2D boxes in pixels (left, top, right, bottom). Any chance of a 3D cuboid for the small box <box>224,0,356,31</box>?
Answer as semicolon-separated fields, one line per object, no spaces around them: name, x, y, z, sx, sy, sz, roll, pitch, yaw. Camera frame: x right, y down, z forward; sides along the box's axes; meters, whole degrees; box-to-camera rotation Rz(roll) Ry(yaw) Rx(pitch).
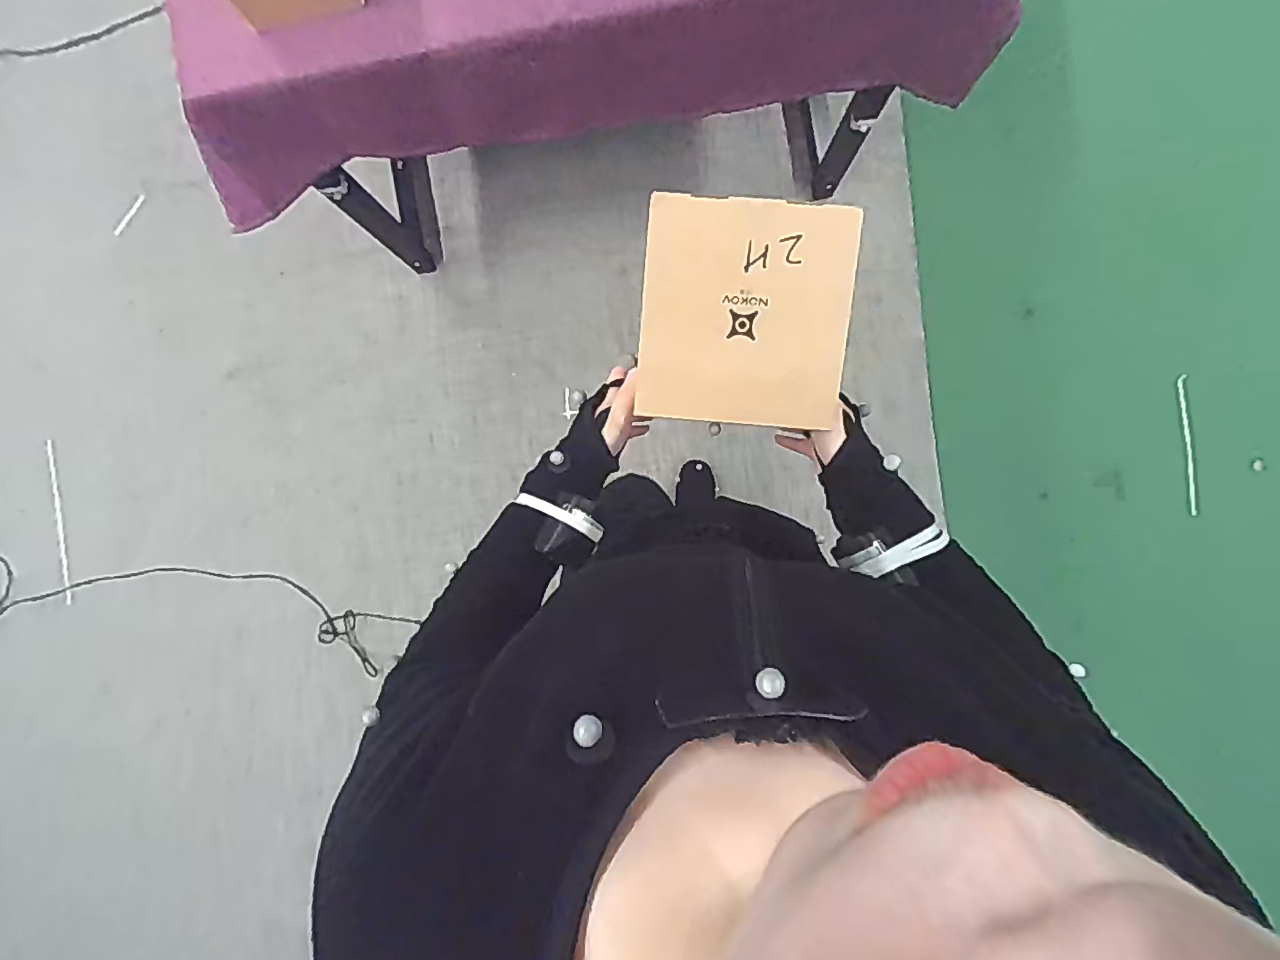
small box;-0.518;-0.761;0.729;0.179;0.176;0.168;-12;88;2

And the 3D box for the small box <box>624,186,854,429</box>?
small box;0.079;-0.146;0.508;0.168;0.176;0.179;5;98;1
